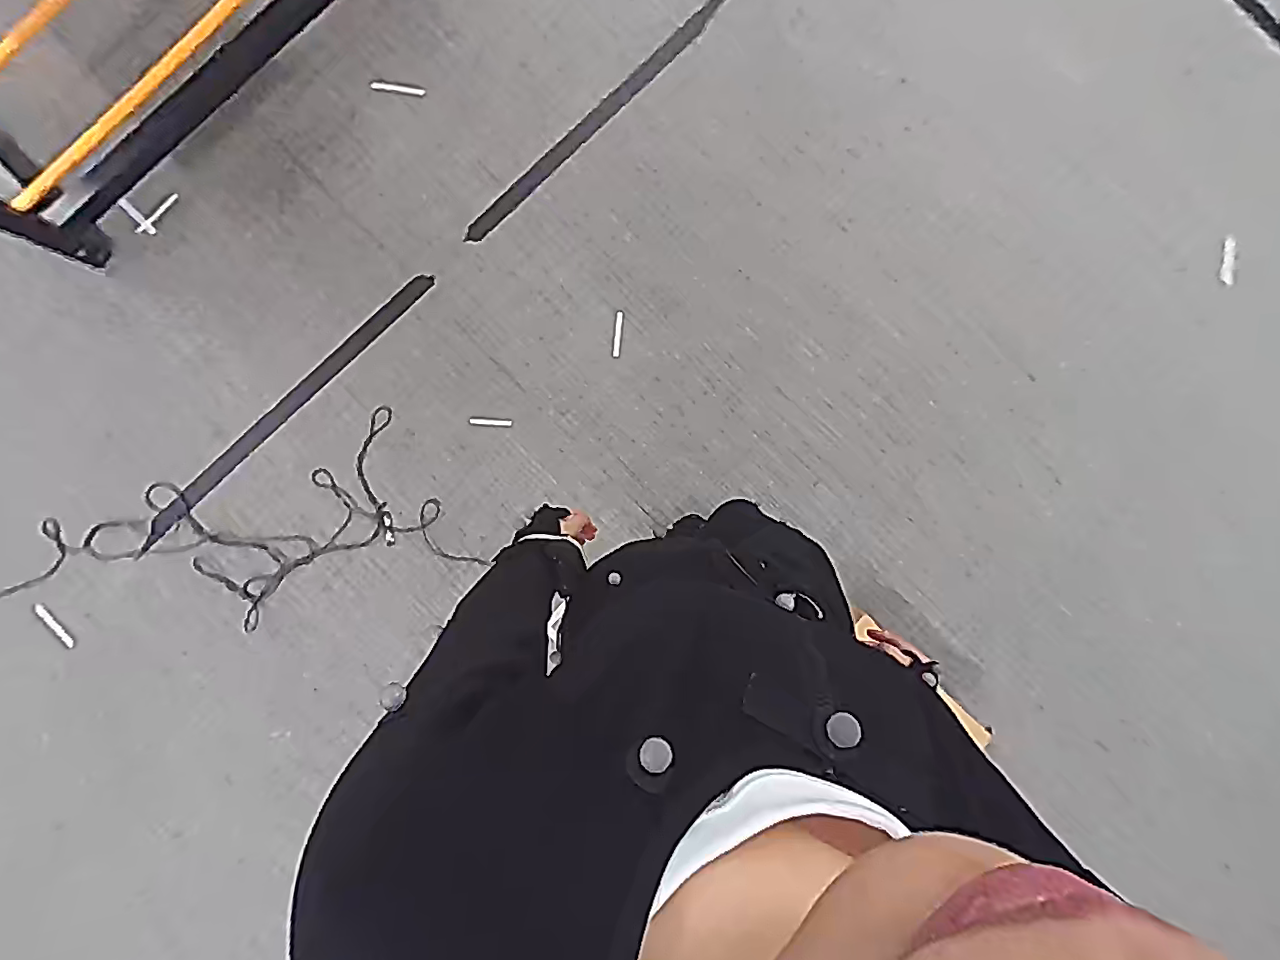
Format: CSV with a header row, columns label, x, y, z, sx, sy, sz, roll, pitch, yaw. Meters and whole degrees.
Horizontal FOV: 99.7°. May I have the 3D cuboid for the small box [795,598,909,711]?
label,x,y,z,sx,sy,sz,roll,pitch,yaw
small box,0.499,0.413,1.309,0.168,0.176,0.179,44,88,1
